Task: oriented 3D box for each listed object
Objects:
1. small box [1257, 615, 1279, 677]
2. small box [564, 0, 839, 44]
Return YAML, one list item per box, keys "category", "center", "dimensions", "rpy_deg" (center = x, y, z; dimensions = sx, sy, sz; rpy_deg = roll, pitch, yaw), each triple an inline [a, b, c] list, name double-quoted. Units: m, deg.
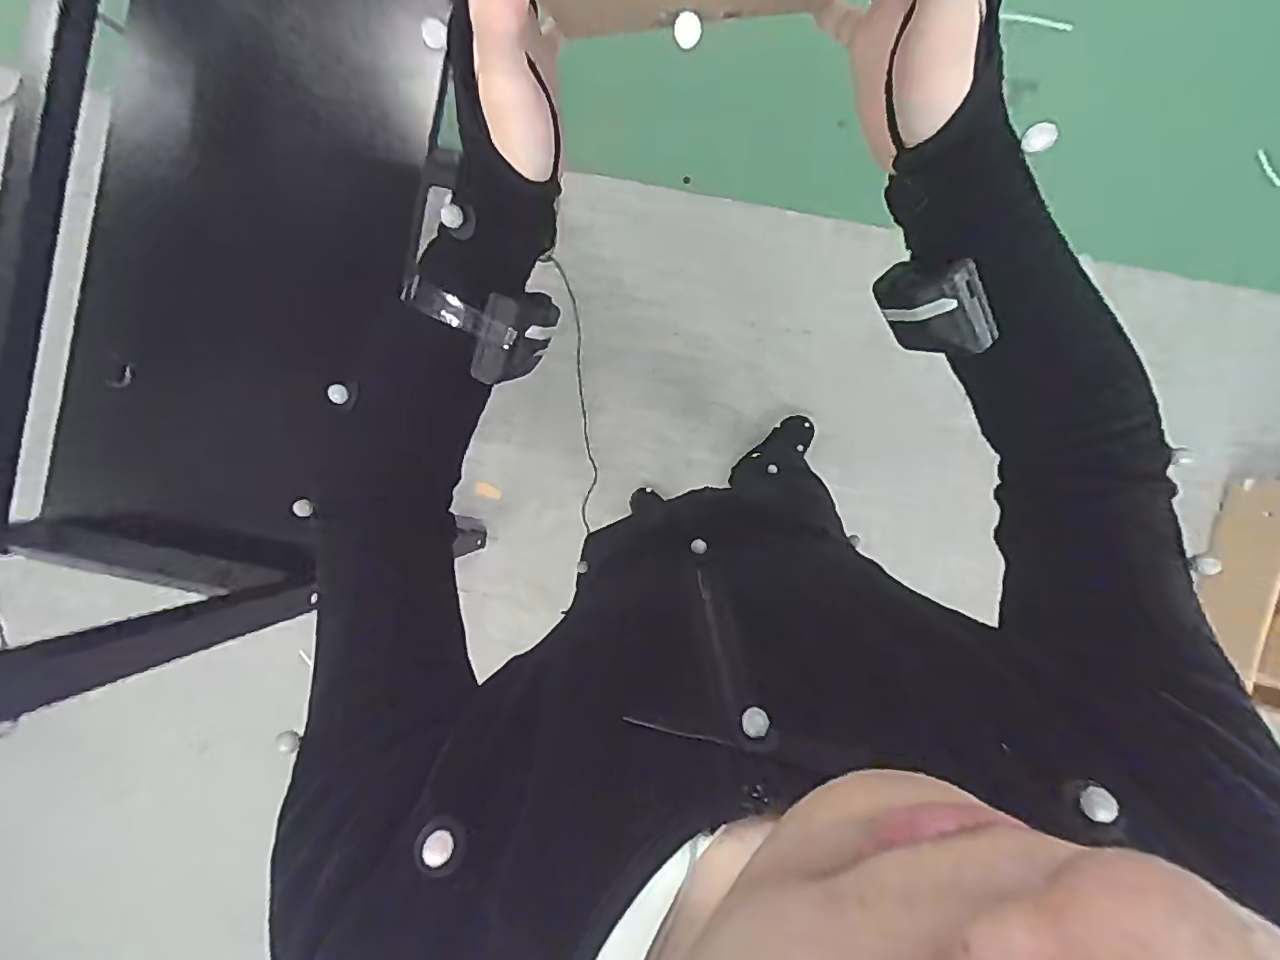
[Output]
- category: "small box"
  center: [1.766, 0.455, 1.383]
  dimensions: [0.179, 0.176, 0.168]
  rpy_deg: [14, 90, 4]
- category: "small box"
  center: [0.028, -0.327, 0.242]
  dimensions: [0.168, 0.176, 0.179]
  rpy_deg: [-2, 121, 6]
